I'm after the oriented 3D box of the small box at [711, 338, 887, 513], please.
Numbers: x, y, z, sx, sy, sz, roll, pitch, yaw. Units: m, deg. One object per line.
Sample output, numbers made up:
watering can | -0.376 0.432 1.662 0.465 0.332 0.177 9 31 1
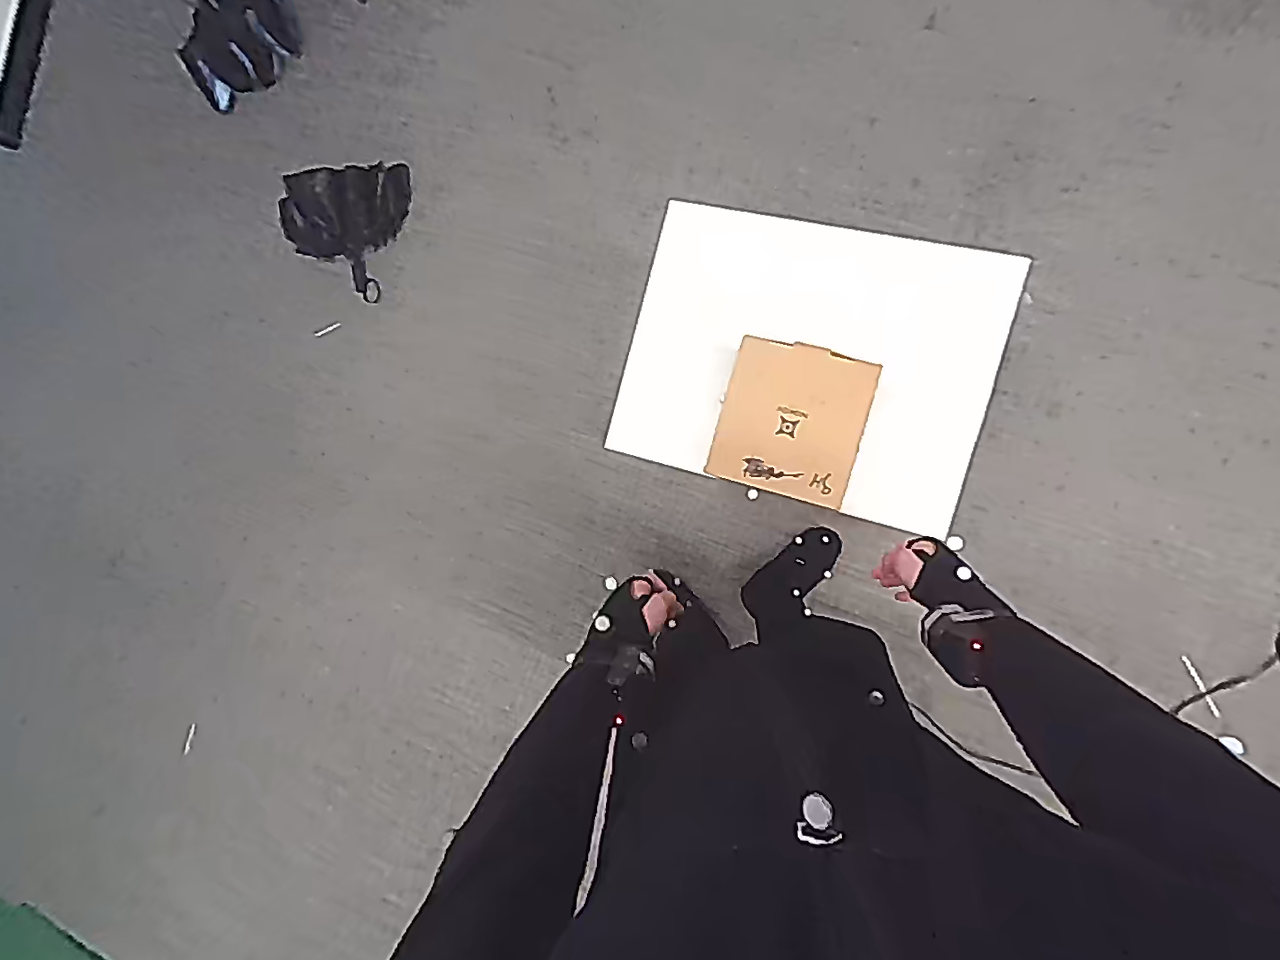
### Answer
small box | 0.201 -0.063 0.715 0.168 0.176 0.179 17 91 13
